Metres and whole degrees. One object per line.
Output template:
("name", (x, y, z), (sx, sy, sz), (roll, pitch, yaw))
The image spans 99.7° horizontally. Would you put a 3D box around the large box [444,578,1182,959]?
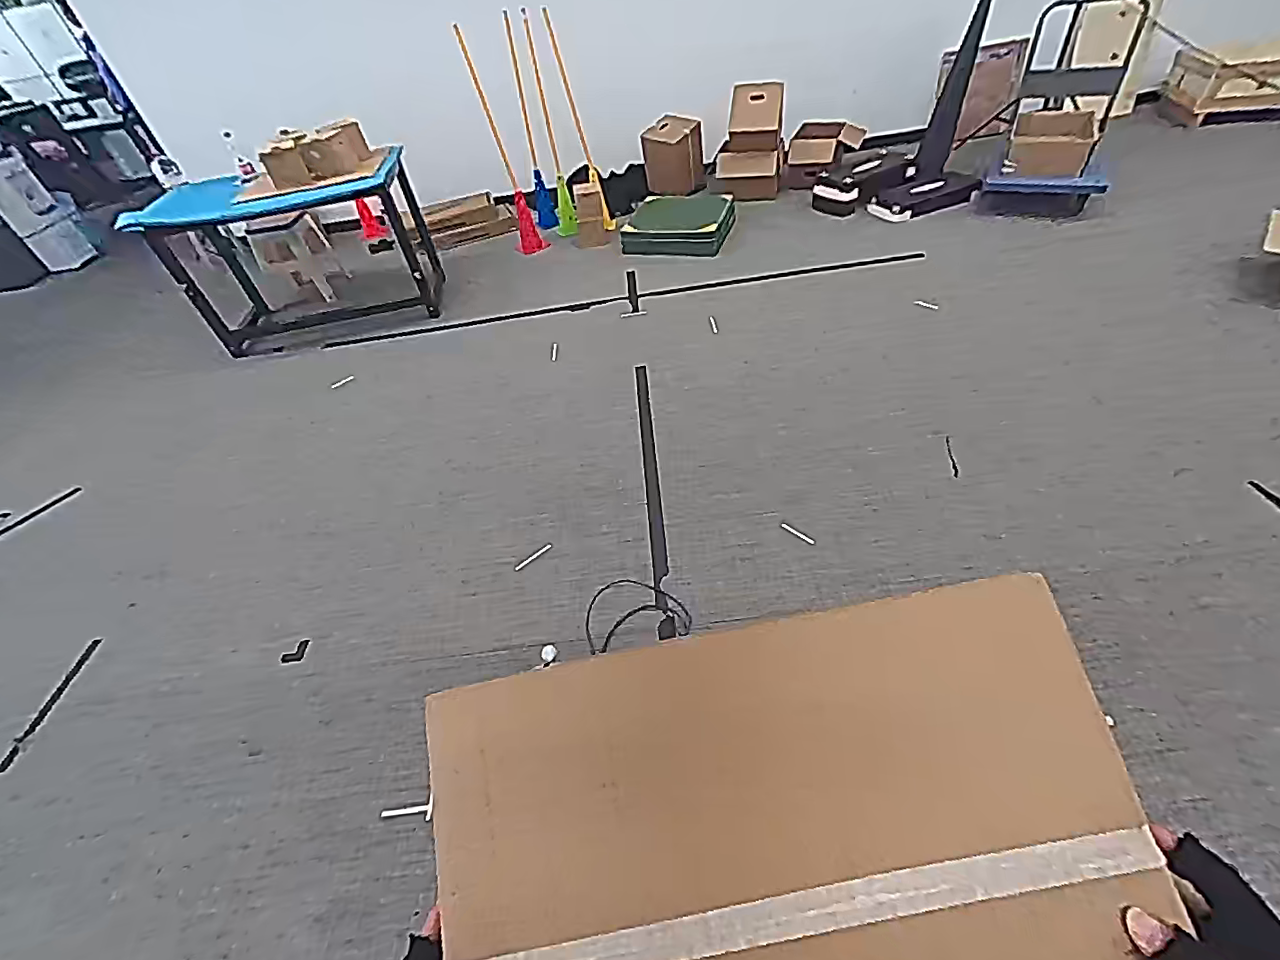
("large box", (0.101, 0.293, 0.457), (0.408, 0.320, 0.320), (-12, 74, 1))
